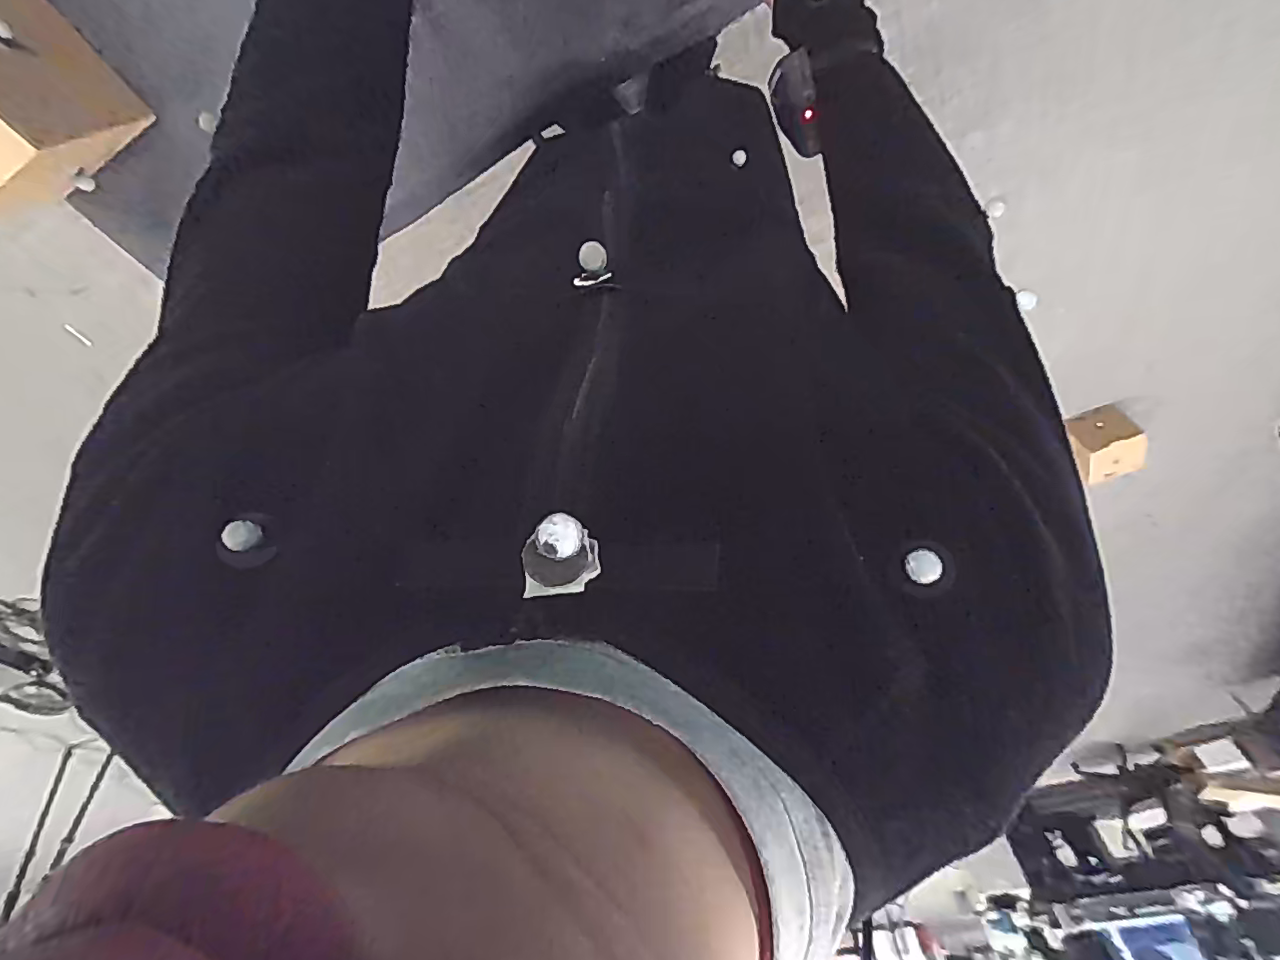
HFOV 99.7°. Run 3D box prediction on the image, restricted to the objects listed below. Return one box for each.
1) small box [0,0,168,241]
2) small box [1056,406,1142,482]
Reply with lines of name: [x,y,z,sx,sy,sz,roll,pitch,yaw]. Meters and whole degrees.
small box: [-0.604,-0.342,0.490,0.168,0.176,0.179,-23,130,16]
small box: [1.577,-0.132,1.869,0.168,0.176,0.179,-24,130,17]
